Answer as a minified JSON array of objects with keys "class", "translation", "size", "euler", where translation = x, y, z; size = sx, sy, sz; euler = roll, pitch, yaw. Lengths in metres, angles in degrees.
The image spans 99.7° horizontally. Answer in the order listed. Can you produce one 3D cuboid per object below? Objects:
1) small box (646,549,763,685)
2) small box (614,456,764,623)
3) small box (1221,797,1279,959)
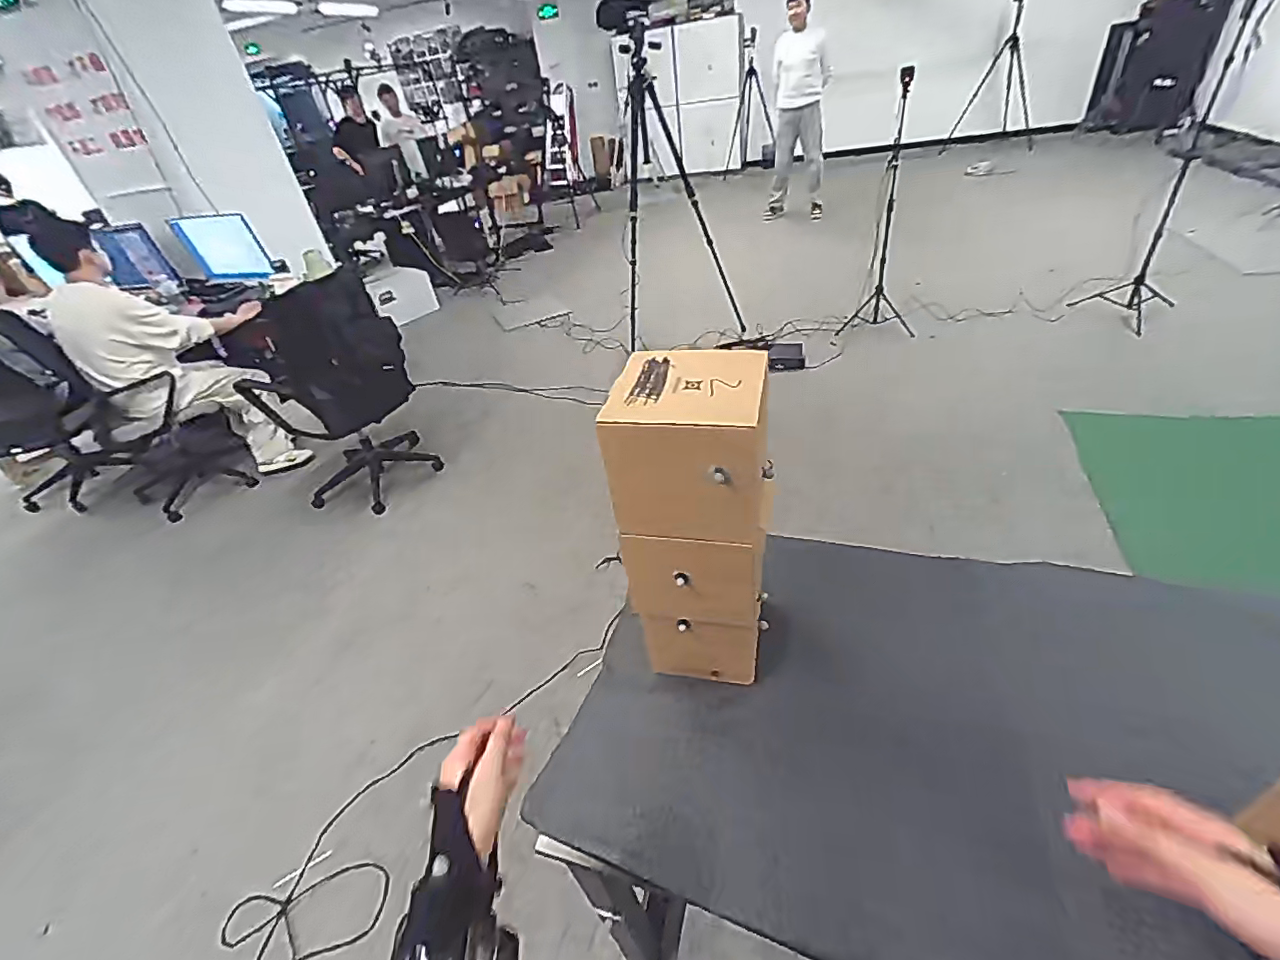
[{"class":"small box","translation":[0.110,0.203,0.883],"size":[0.168,0.176,0.179],"euler":[3,40,15]},{"class":"small box","translation":[0.082,0.084,0.770],"size":[0.179,0.176,0.168],"euler":[2,40,17]},{"class":"small box","translation":[0.692,0.402,0.482],"size":[0.168,0.176,0.179],"euler":[4,39,20]}]
